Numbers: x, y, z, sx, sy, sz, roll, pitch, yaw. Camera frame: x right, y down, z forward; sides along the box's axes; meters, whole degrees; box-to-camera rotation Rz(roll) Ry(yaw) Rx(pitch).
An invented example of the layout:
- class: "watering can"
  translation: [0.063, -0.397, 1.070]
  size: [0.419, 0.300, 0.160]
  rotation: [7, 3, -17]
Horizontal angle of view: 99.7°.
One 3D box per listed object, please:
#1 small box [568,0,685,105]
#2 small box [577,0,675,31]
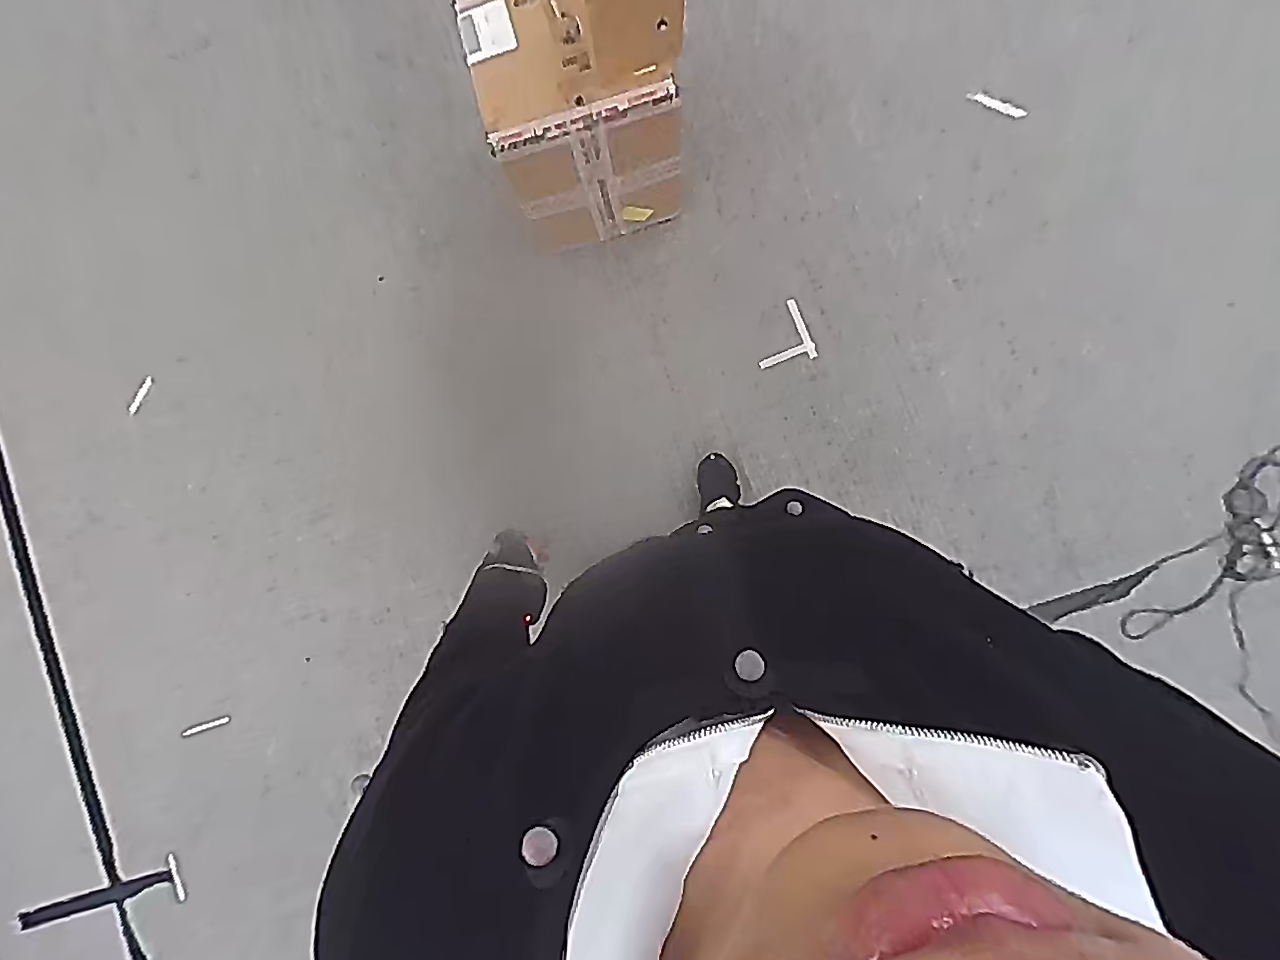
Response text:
- class: "small box"
  translation: [-0.028, -0.847, 0.994]
  size: [0.179, 0.176, 0.168]
  rotation: [-21, 87, 2]
- class: "small box"
  translation: [-0.041, -0.859, 0.831]
  size: [0.168, 0.176, 0.179]
  rotation: [-19, 88, 2]
